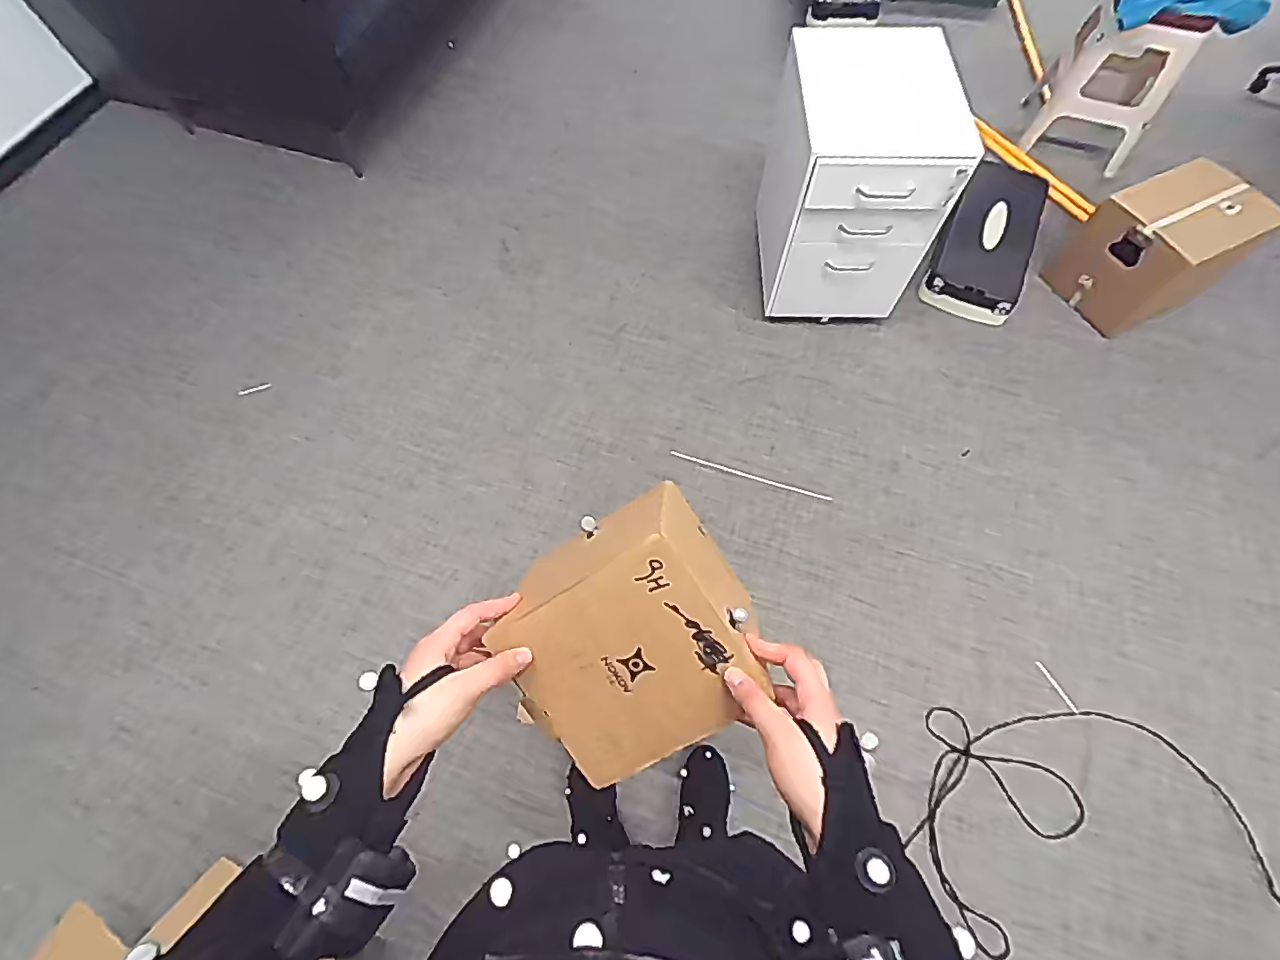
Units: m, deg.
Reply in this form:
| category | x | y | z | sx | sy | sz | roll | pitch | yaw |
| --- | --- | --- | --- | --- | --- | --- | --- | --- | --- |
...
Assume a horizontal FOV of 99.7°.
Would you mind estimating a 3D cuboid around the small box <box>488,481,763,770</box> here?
| category | x | y | z | sx | sy | sz | roll | pitch | yaw |
| --- | --- | --- | --- | --- | --- | --- | --- | --- | --- |
| small box | -0.005 | 0.123 | 0.516 | 0.179 | 0.176 | 0.168 | -32 | 98 | 11 |
